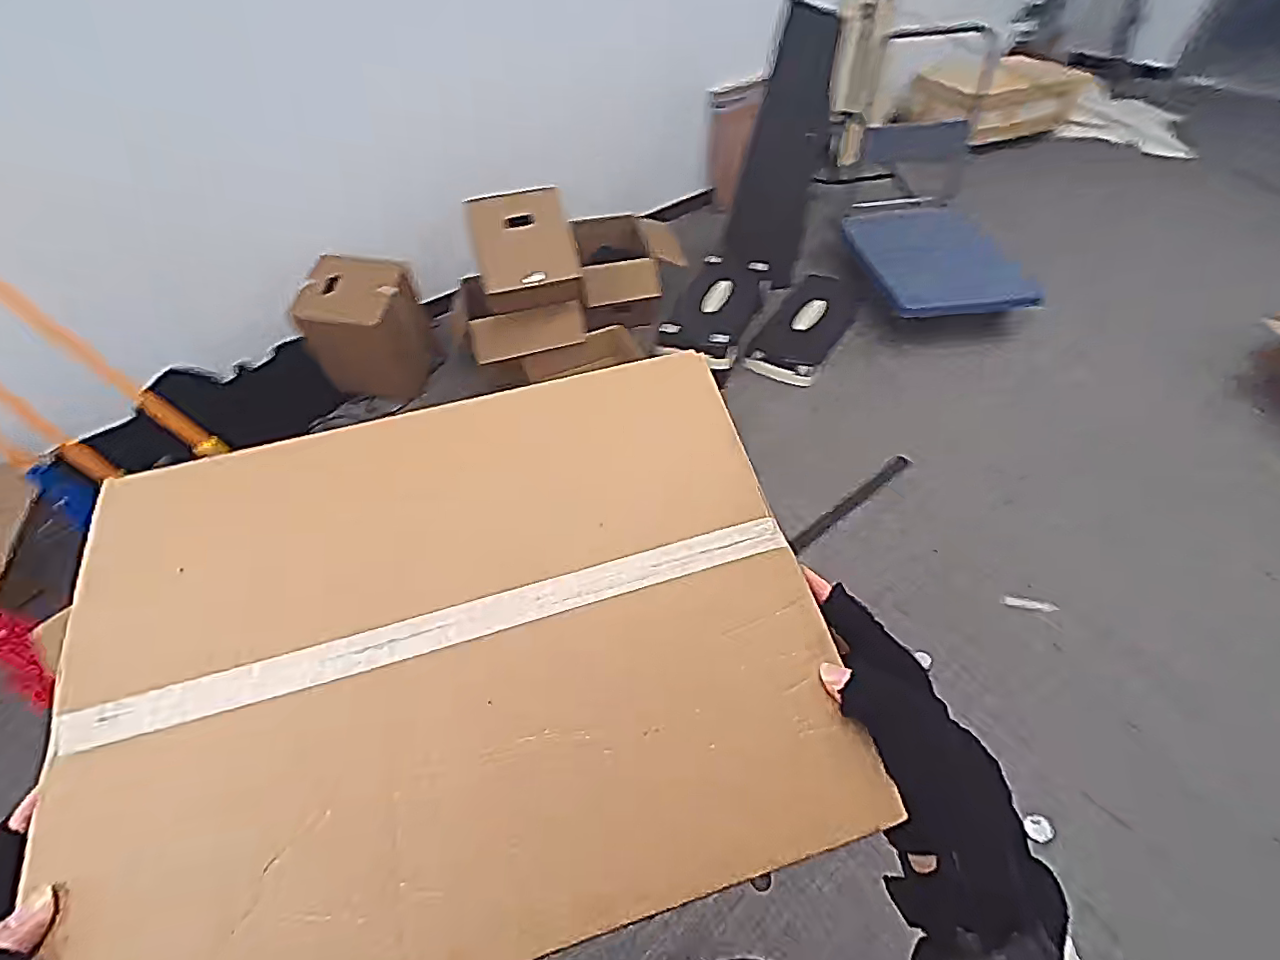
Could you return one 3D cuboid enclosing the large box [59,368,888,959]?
[{"bbox_3d":[-0.099,0.161,0.448,0.408,0.320,0.320,-14,62,-7],"label":"large box"}]
